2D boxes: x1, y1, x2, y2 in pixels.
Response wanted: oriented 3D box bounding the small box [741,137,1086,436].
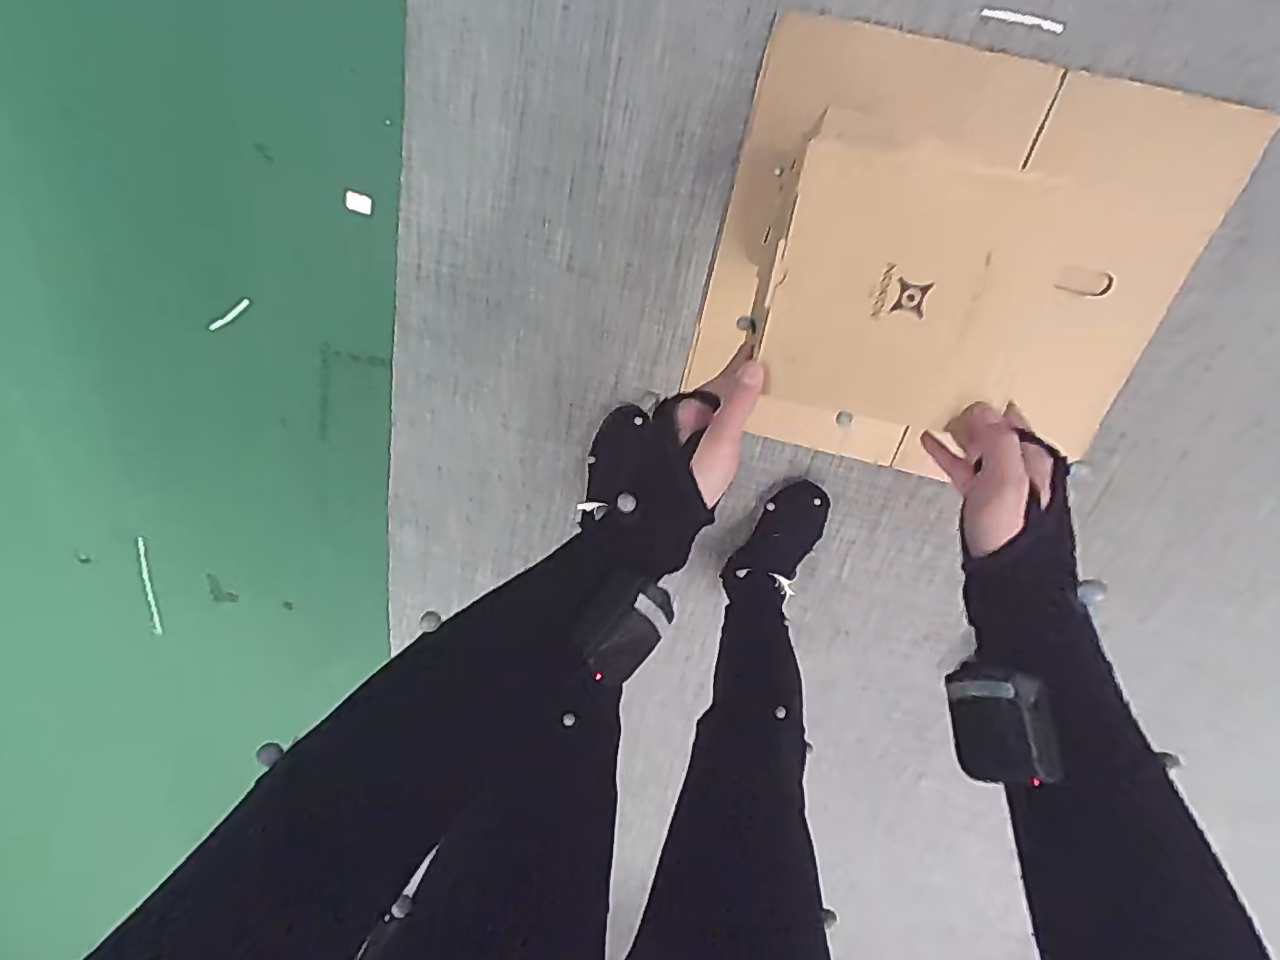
[{"bbox_3d":[0.183,-0.148,0.434,0.179,0.176,0.168,12,110,5],"label":"small box"}]
